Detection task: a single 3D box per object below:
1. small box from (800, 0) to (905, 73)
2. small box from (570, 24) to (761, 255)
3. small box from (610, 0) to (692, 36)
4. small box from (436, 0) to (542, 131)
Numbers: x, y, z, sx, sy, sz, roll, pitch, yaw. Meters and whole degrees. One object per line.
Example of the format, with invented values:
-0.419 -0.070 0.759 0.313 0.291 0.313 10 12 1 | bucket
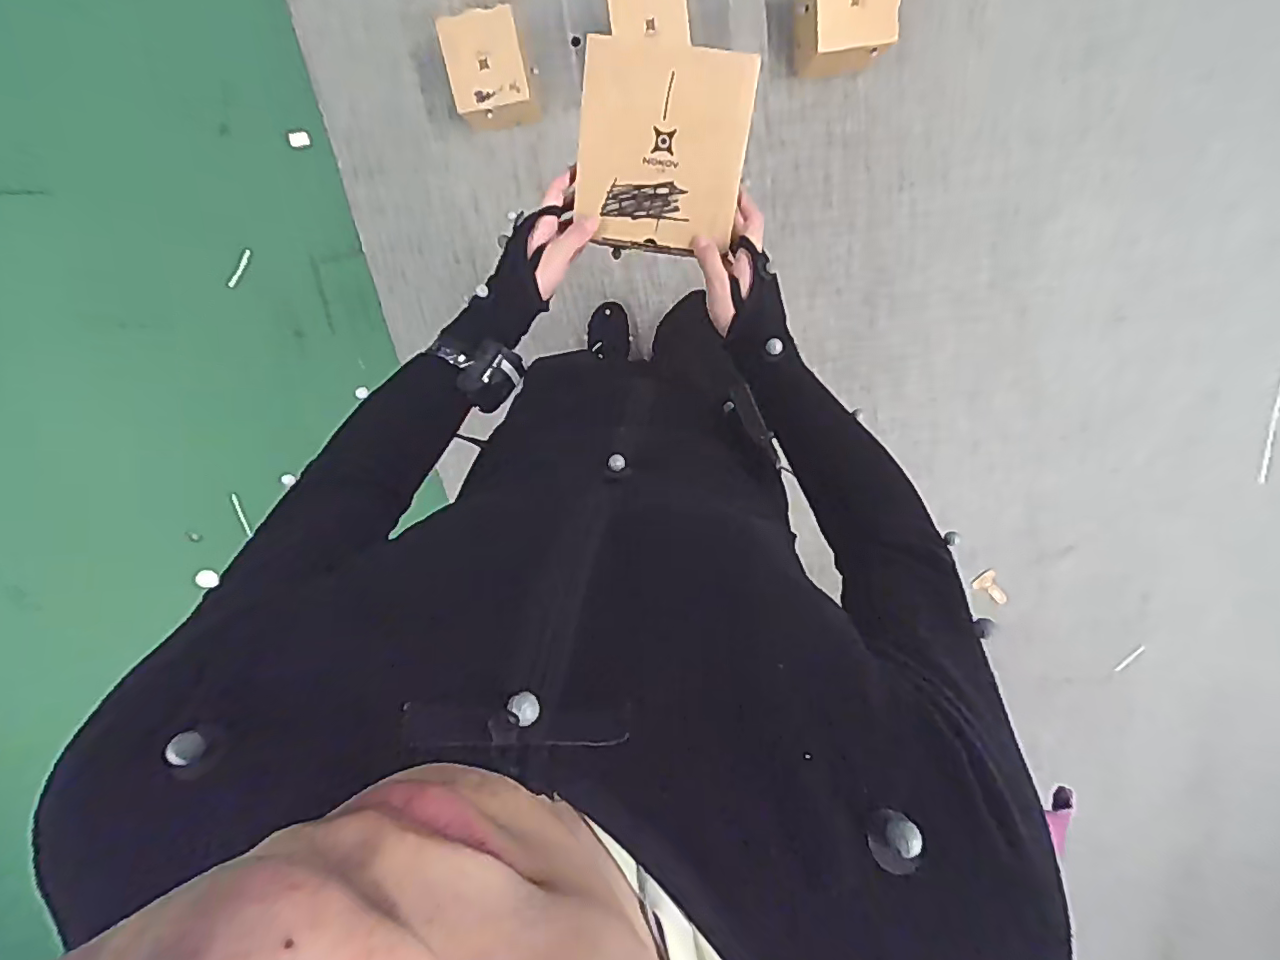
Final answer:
0.456 -1.024 1.182 0.179 0.176 0.168 -8 111 2 | small box
0.026 -0.349 0.591 0.168 0.176 0.179 8 110 1 | small box
0.024 -0.971 1.198 0.168 0.176 0.179 -8 110 3 | small box
-0.330 -0.920 1.215 0.168 0.176 0.179 -9 109 4 | small box
